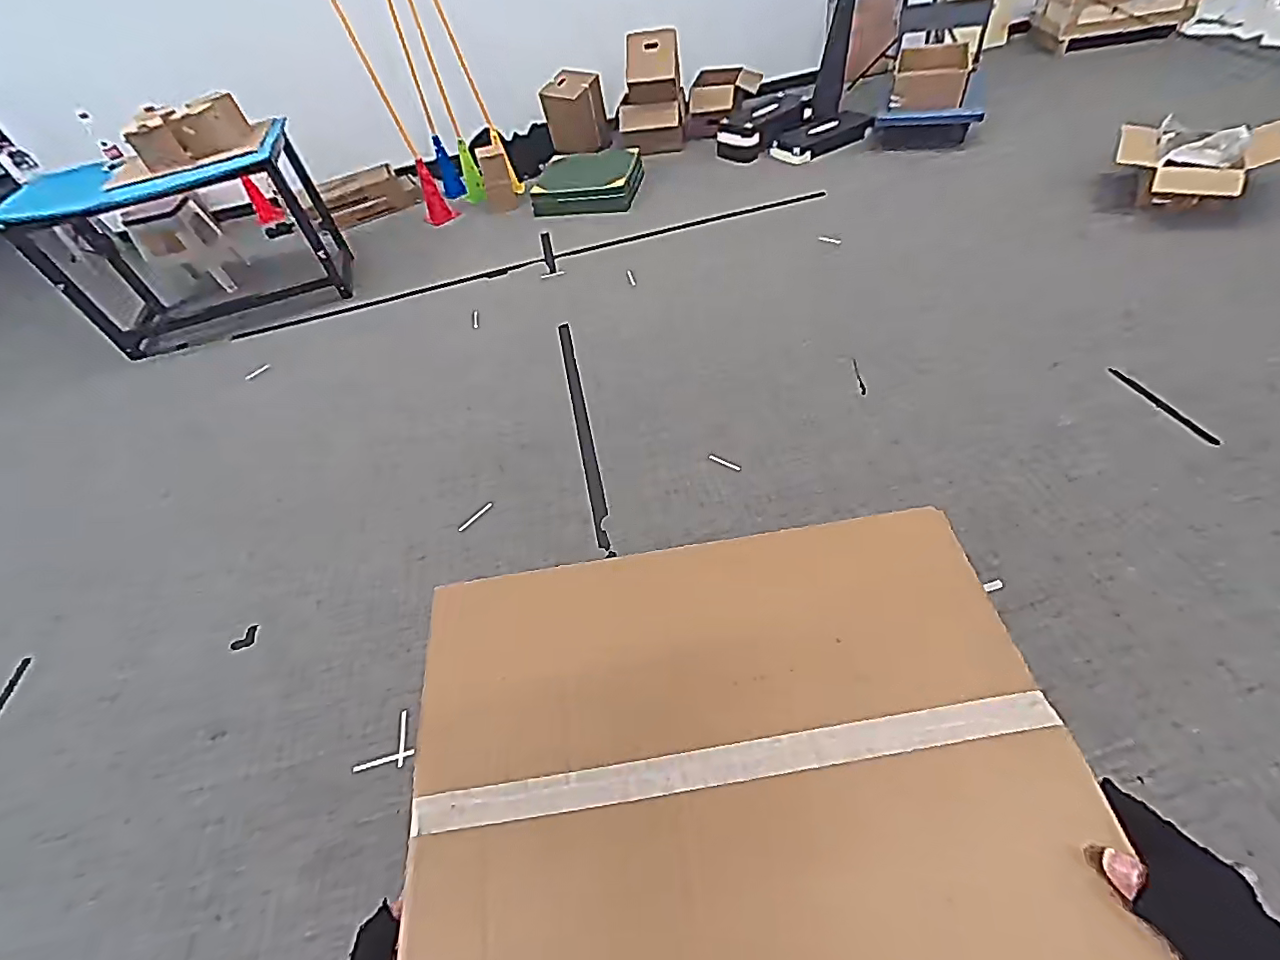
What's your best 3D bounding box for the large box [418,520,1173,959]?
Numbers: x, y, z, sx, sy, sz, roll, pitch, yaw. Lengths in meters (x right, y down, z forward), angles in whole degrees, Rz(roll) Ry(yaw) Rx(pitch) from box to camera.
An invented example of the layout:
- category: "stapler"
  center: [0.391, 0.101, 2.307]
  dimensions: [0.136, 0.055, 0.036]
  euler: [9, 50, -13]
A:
- category: "large box"
  center: [0.077, 0.272, 0.464]
  dimensions: [0.408, 0.320, 0.320]
  euler: [-10, 53, 0]
